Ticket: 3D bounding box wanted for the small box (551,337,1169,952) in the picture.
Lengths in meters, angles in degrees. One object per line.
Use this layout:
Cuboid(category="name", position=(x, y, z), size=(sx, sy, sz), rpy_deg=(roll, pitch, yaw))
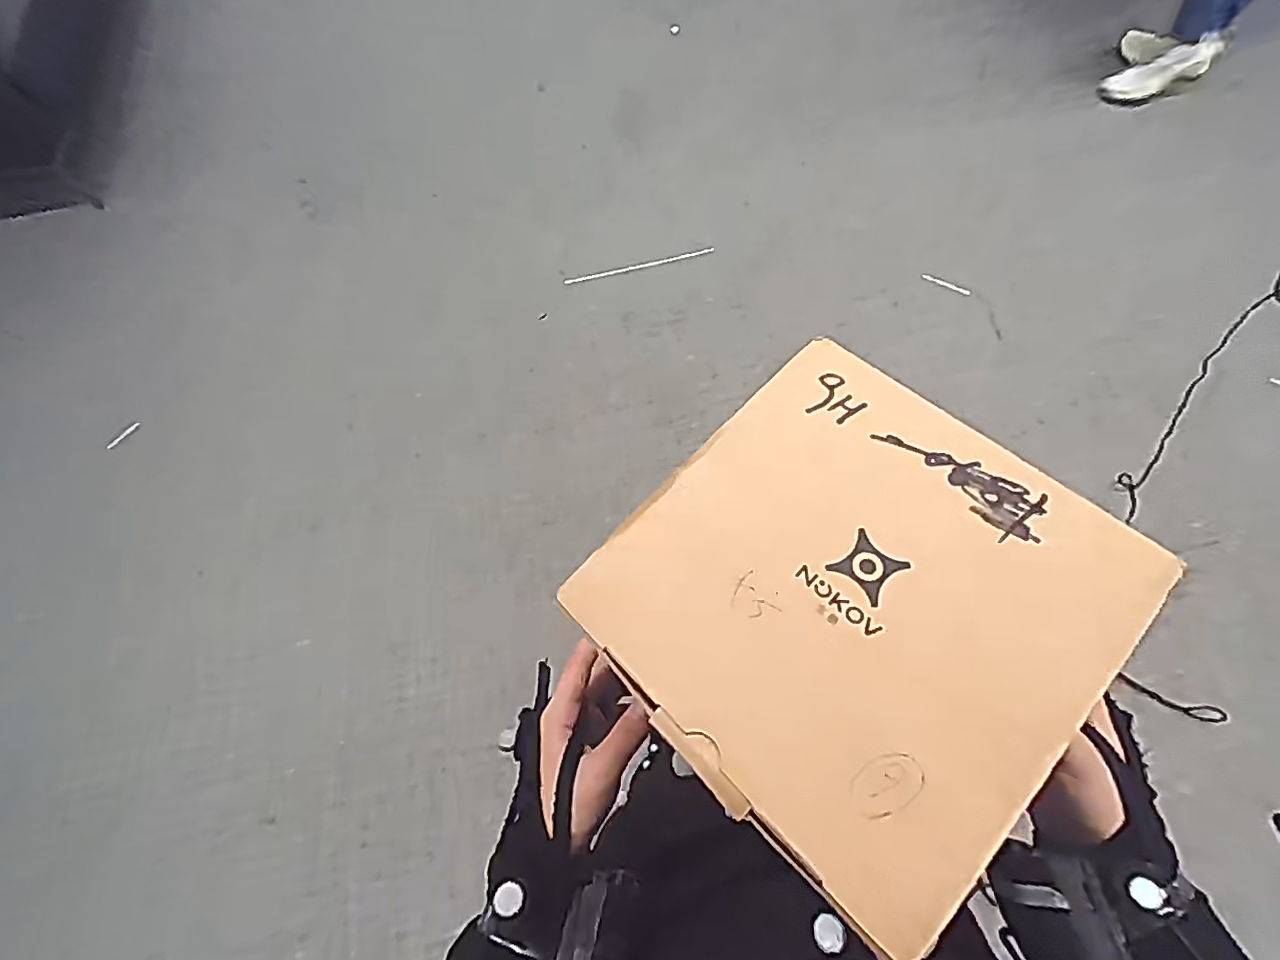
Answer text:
Cuboid(category="small box", position=(0.089, 0.071, 0.282), size=(0.179, 0.176, 0.168), rpy_deg=(-44, 67, -11))
